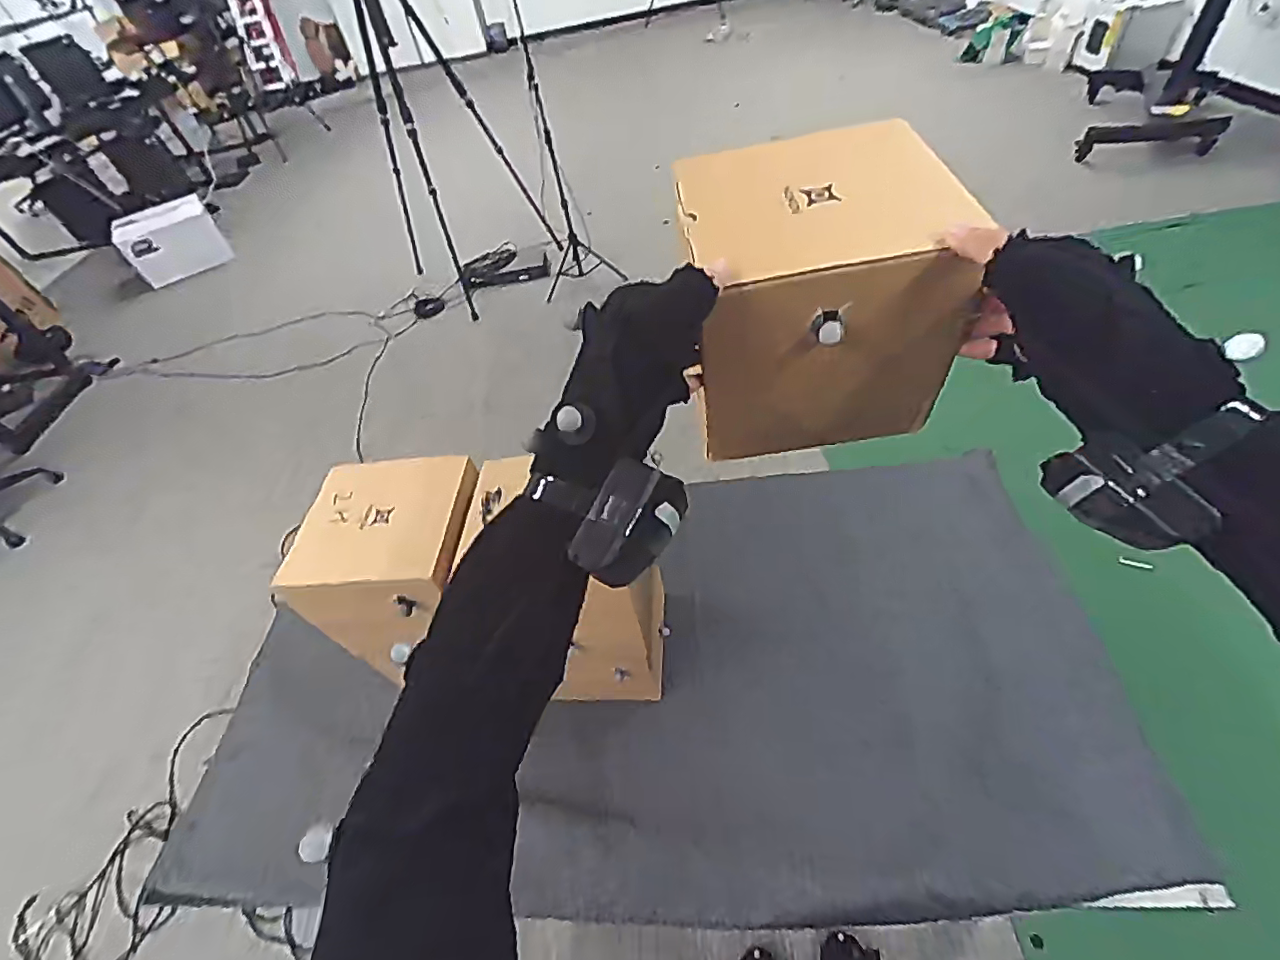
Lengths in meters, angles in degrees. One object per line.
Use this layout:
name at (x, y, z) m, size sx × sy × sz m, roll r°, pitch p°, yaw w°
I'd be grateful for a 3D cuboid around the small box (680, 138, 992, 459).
small box at (0.131, -0.137, 0.436) m, size 0.179 × 0.176 × 0.168 m, roll -8°, pitch 53°, yaw 5°
